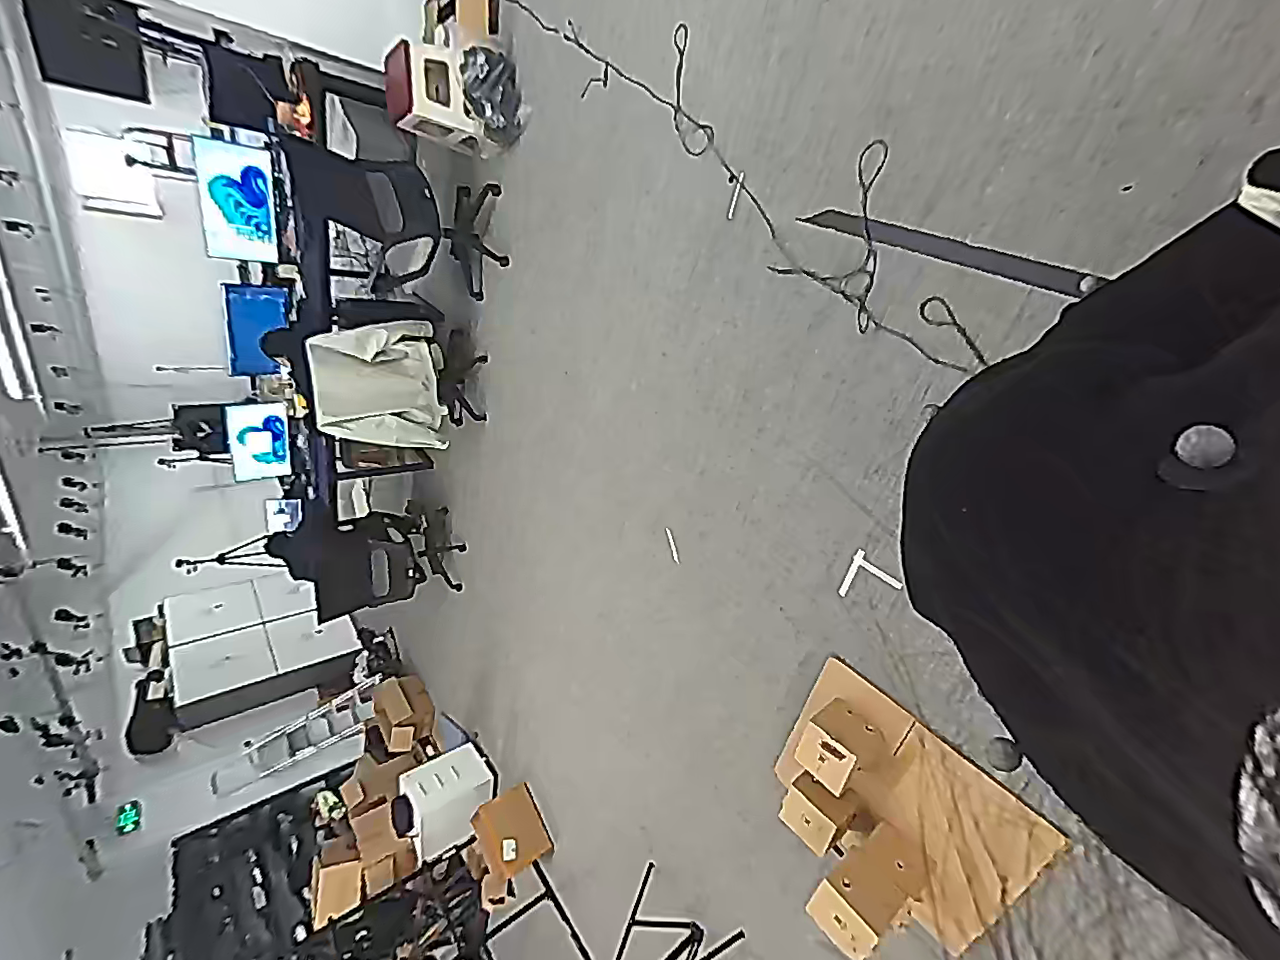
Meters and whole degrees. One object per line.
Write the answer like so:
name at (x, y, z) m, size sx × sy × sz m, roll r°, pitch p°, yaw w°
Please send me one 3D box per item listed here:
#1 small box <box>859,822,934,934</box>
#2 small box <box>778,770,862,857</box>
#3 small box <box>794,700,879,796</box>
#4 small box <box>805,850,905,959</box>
small box at (0.744, 1.178, 1.616) m, size 0.179 × 0.176 × 0.168 m, roll 31°, pitch 121°, yaw 40°
small box at (0.591, 1.072, 1.775) m, size 0.179 × 0.176 × 0.168 m, roll 31°, pitch 122°, yaw 40°
small box at (0.616, 0.827, 1.686) m, size 0.168 × 0.176 × 0.179 m, roll 33°, pitch 122°, yaw 40°
small box at (0.605, 1.191, 1.524) m, size 0.179 × 0.176 × 0.168 m, roll 36°, pitch 125°, yaw 39°
